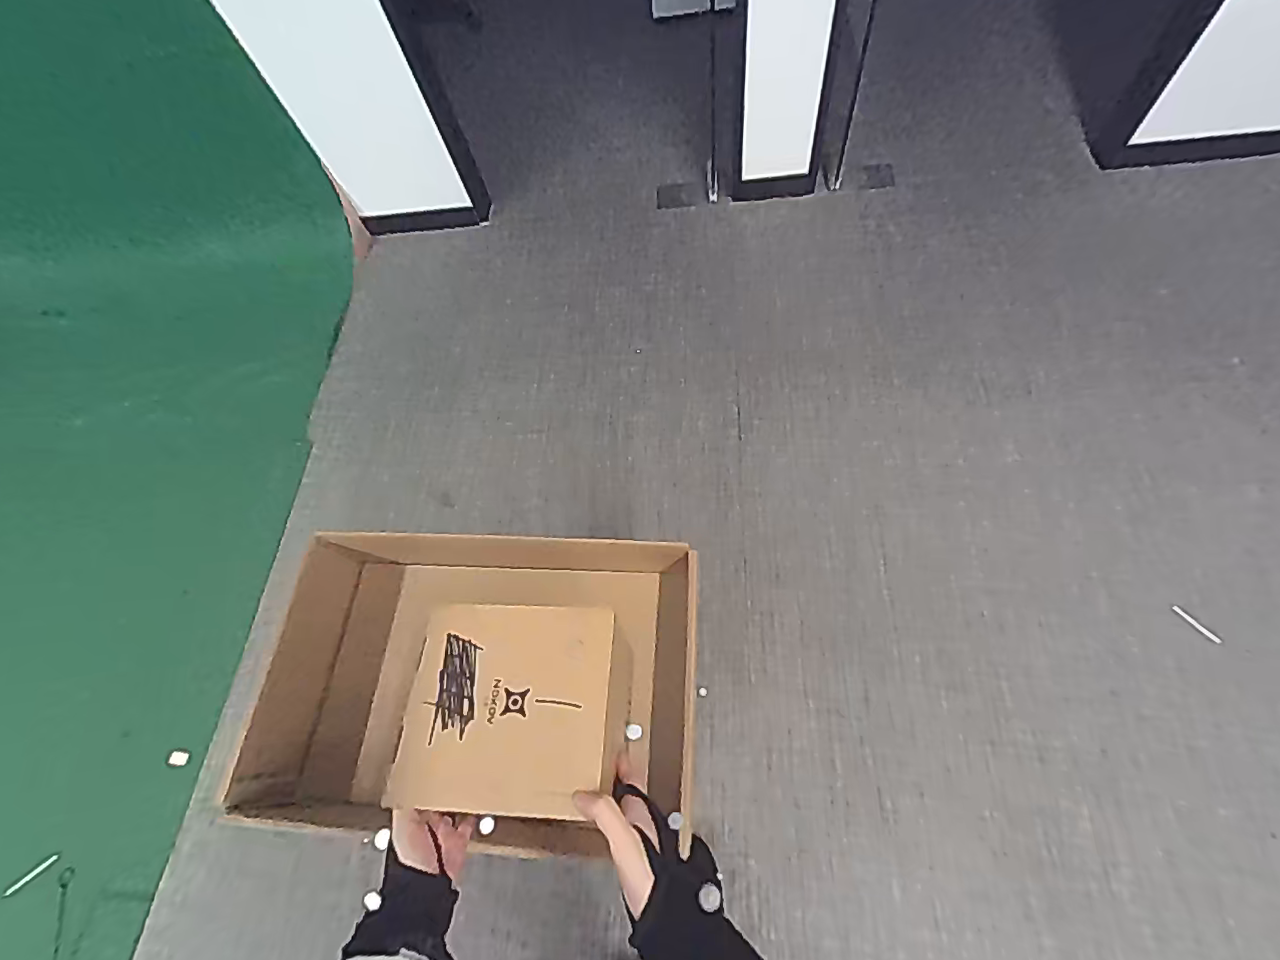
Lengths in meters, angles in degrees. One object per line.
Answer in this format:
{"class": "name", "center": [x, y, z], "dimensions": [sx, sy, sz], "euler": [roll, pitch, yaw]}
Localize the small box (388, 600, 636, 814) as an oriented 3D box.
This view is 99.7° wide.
{"class": "small box", "center": [-0.104, 0.227, 0.533], "dimensions": [0.179, 0.176, 0.168], "euler": [0, 58, 7]}
